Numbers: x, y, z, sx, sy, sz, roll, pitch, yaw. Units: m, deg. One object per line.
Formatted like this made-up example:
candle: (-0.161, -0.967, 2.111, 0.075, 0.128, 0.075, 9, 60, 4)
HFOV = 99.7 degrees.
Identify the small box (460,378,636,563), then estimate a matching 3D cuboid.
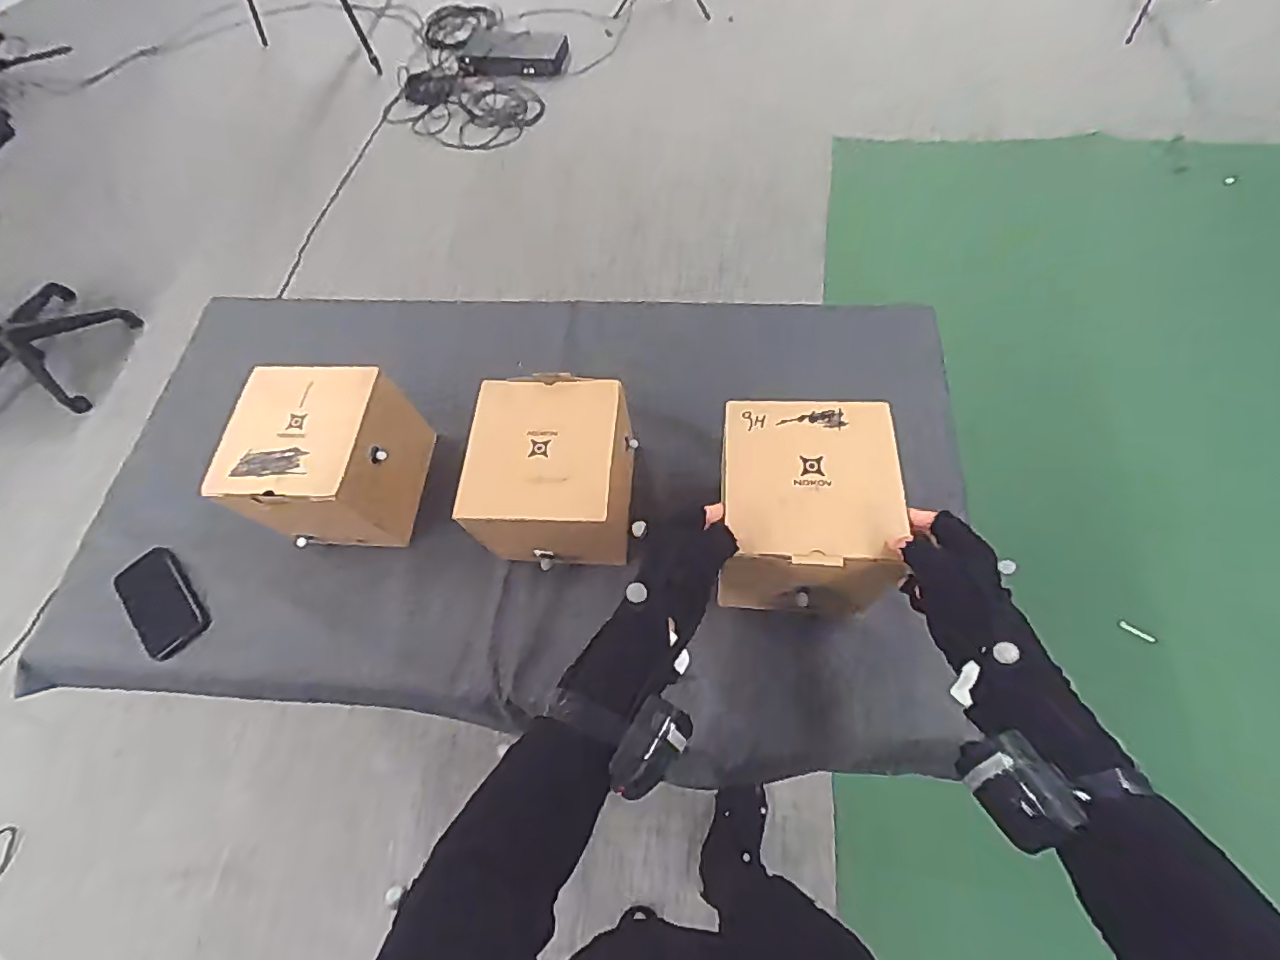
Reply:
small box: (-0.097, -0.007, 0.666, 0.168, 0.176, 0.179, 0, 66, 7)

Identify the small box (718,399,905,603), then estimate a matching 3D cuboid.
small box: (0.173, 0.030, 0.598, 0.168, 0.176, 0.179, 2, 63, 7)

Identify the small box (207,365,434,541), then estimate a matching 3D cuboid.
small box: (-0.390, -0.028, 0.700, 0.168, 0.176, 0.179, 2, 65, 6)
